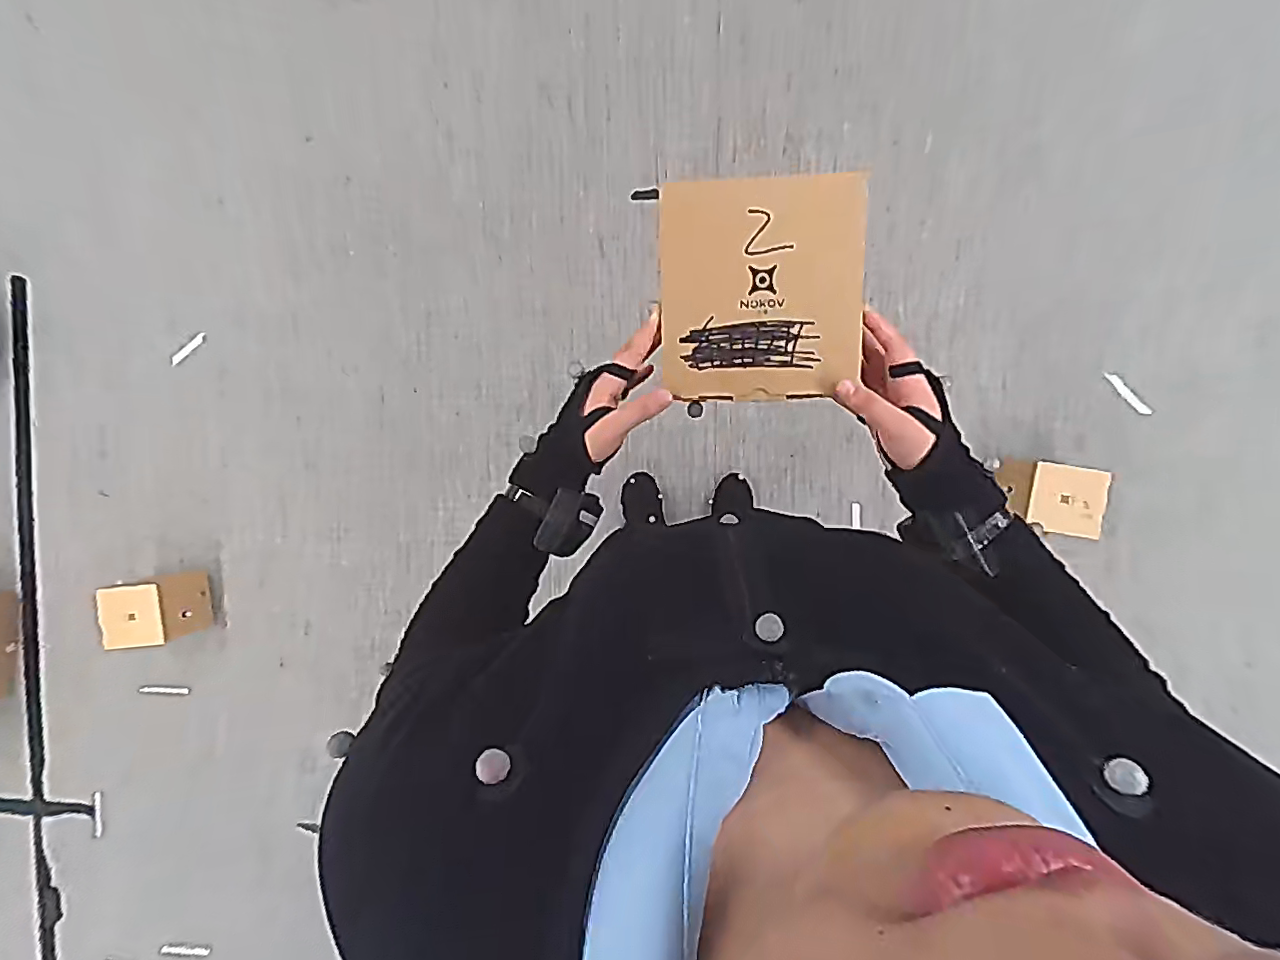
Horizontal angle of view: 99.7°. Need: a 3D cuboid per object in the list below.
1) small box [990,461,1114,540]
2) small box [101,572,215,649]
[{"bbox_3d":[1.028,0.046,1.366,0.179,0.176,0.168,10,93,3],"label":"small box"},{"bbox_3d":[-1.342,0.360,1.521,0.179,0.176,0.168,-6,92,4],"label":"small box"}]
